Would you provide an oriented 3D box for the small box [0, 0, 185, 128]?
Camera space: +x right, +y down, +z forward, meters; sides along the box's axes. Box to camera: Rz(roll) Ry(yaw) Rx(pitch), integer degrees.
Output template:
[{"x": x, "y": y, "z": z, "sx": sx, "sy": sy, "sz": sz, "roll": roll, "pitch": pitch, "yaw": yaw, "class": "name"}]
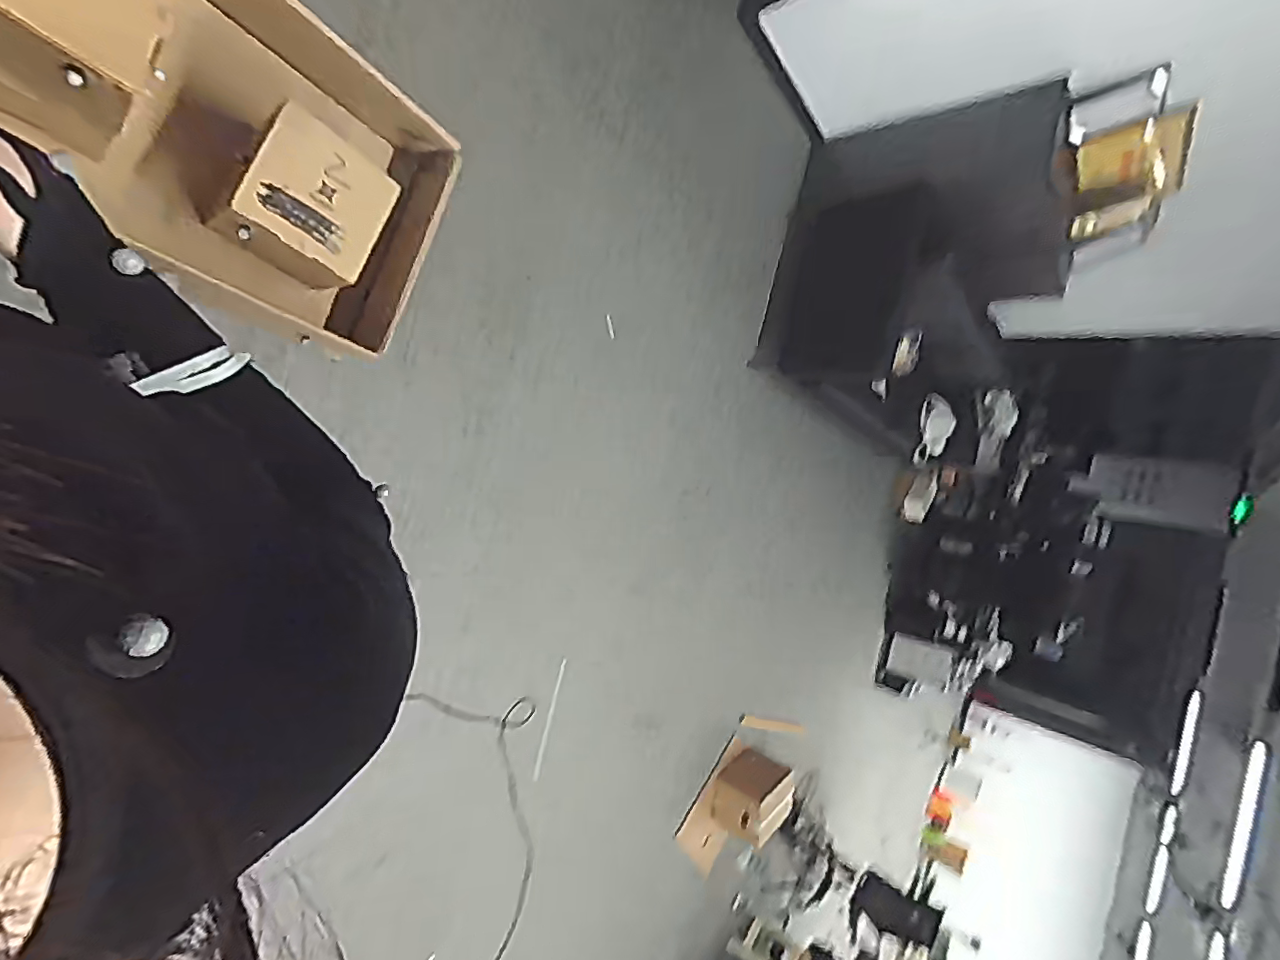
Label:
[{"x": -0.556, "y": -0.469, "z": 0.499, "sx": 0.179, "sy": 0.176, "sz": 0.168, "roll": 25, "pitch": 81, "yaw": -50, "class": "small box"}]
